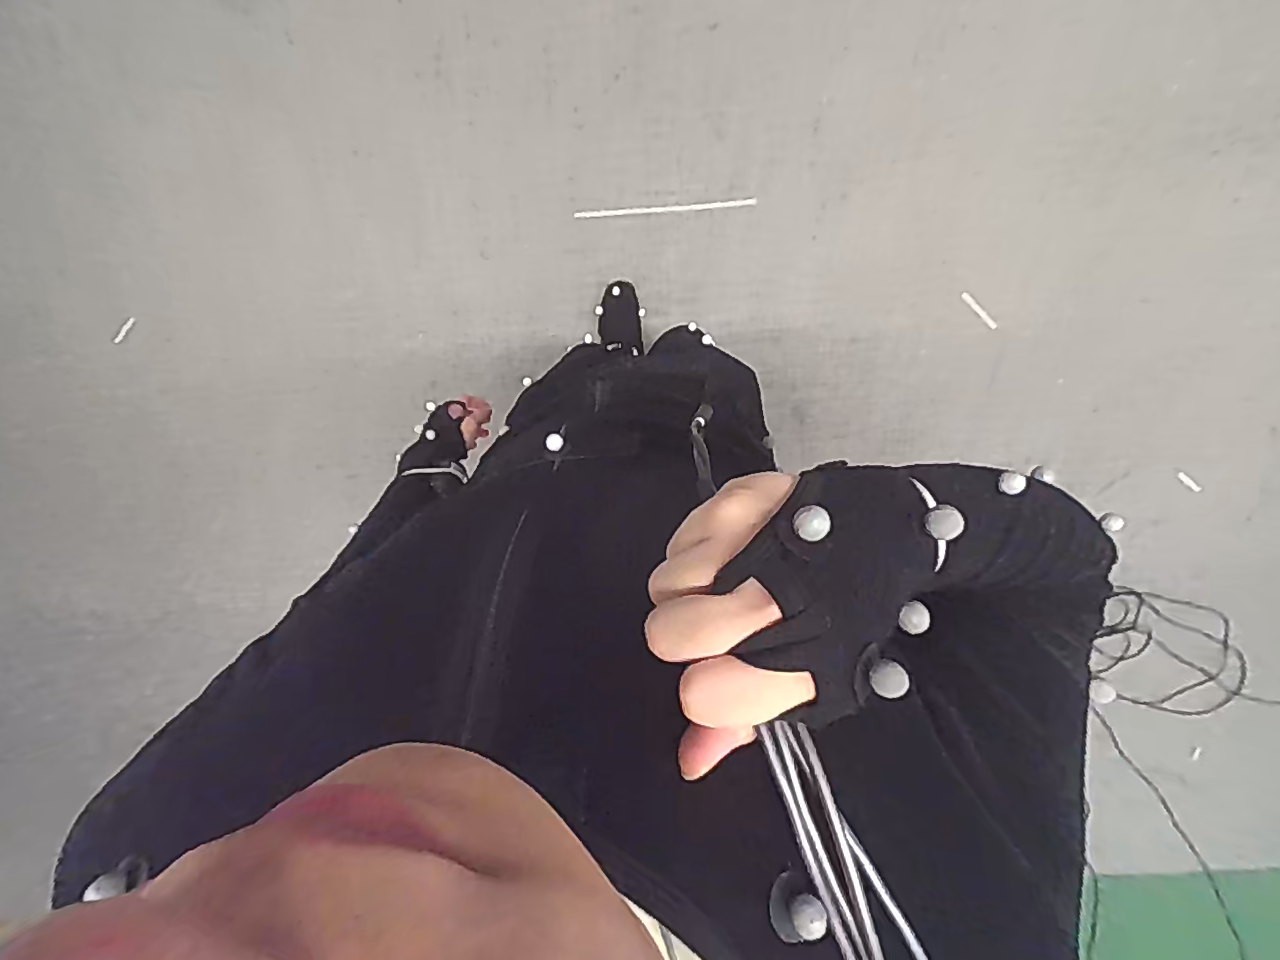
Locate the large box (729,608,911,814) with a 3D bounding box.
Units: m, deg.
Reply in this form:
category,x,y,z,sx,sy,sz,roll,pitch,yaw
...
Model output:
category,x,y,z,sx,sy,sz,roll,pitch,yaw
large box,0.472,0.630,1.513,0.320,0.320,0.408,15,108,-4
